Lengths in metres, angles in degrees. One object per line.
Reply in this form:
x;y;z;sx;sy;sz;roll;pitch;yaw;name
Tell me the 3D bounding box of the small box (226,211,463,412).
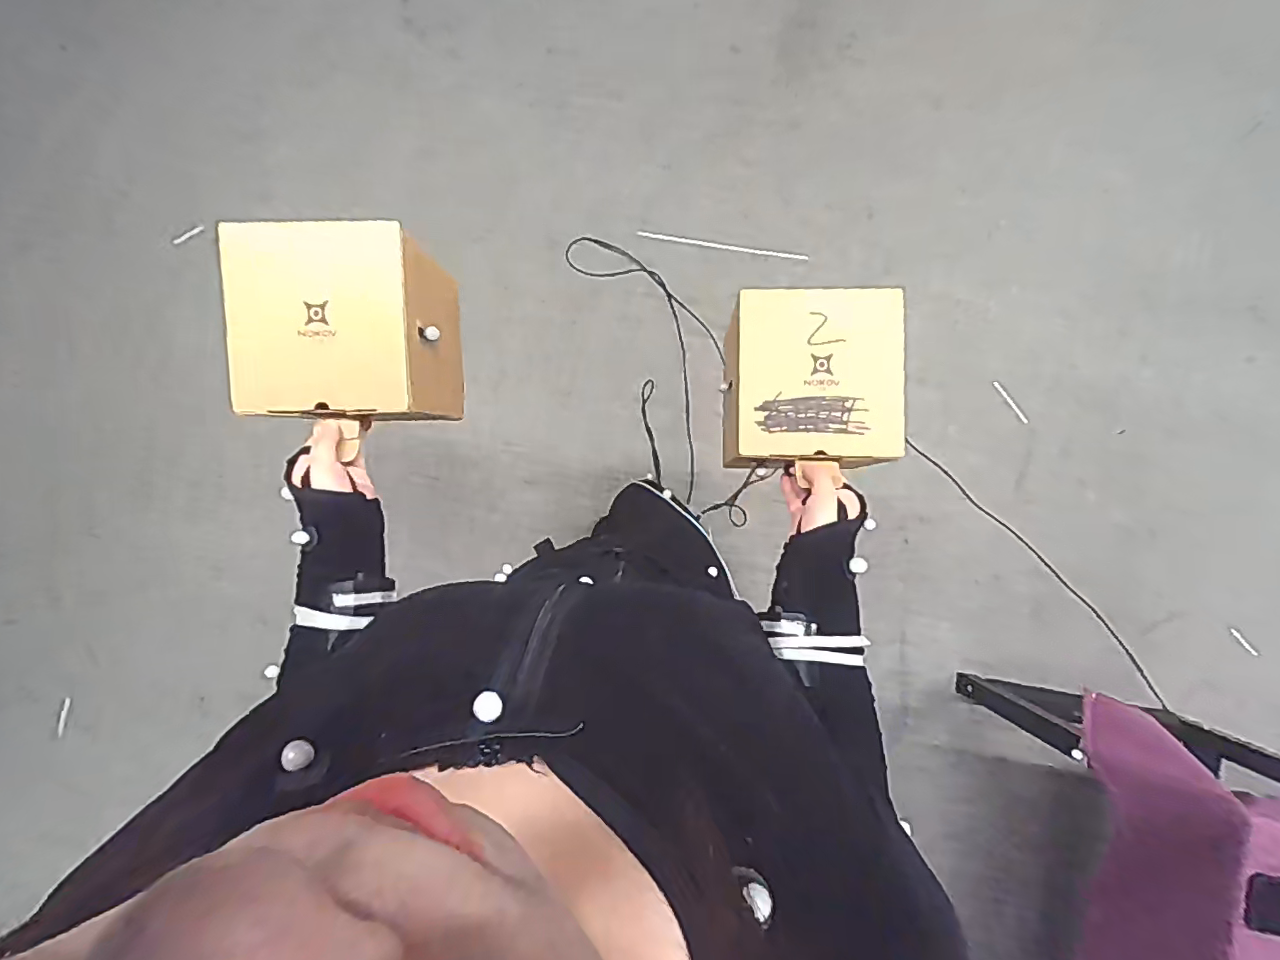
-0.295;-0.164;0.577;0.168;0.176;0.179;0;96;-1;small box
